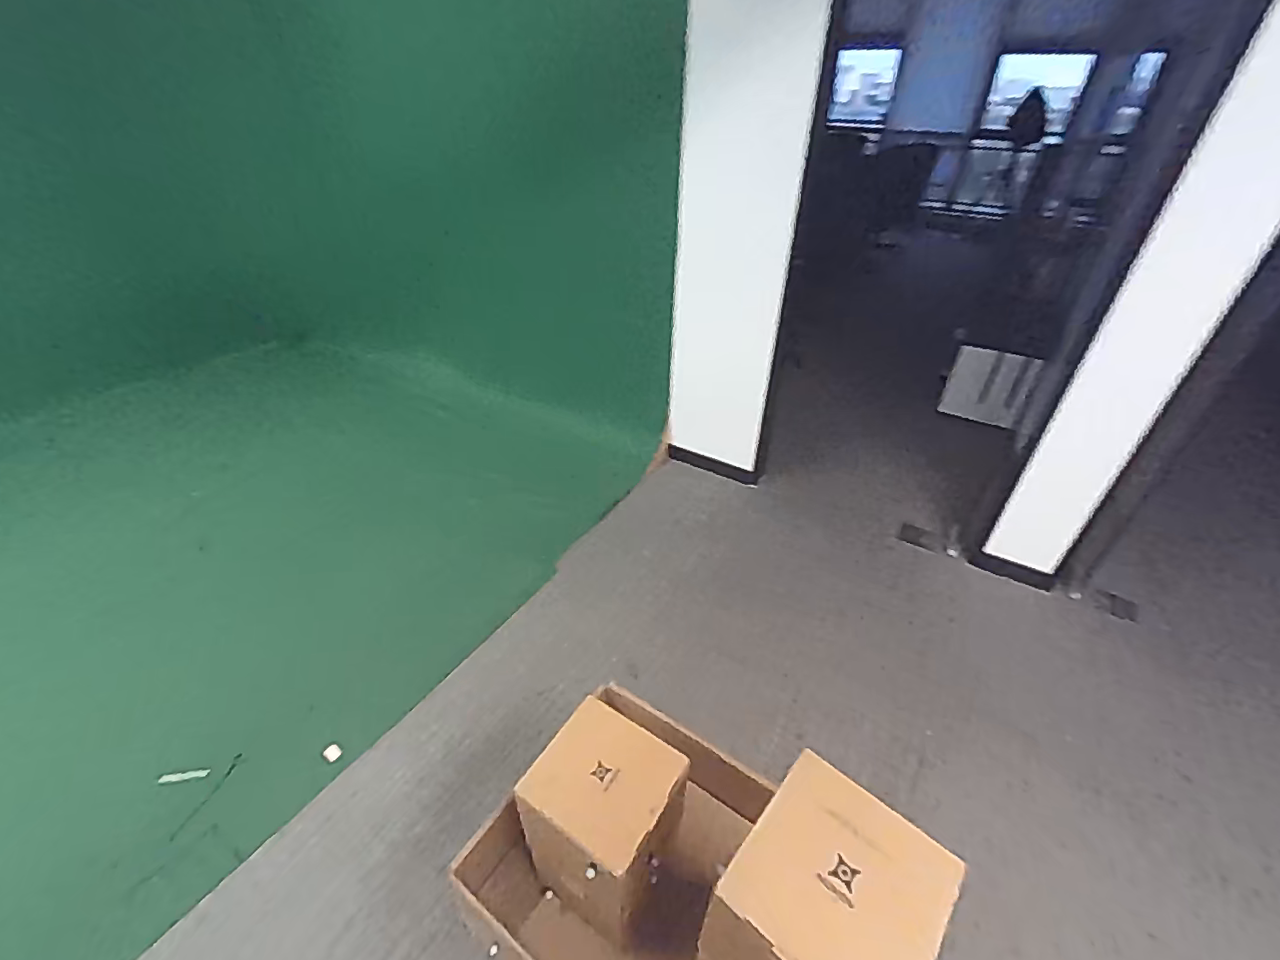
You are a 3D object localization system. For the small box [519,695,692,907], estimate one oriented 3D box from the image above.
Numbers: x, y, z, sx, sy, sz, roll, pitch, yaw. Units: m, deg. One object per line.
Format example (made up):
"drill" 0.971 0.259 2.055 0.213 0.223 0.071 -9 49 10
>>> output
"small box" -0.046 0.453 0.768 0.179 0.176 0.168 23 42 26

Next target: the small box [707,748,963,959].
"small box" 0.179 0.421 0.534 0.168 0.176 0.179 29 44 33
